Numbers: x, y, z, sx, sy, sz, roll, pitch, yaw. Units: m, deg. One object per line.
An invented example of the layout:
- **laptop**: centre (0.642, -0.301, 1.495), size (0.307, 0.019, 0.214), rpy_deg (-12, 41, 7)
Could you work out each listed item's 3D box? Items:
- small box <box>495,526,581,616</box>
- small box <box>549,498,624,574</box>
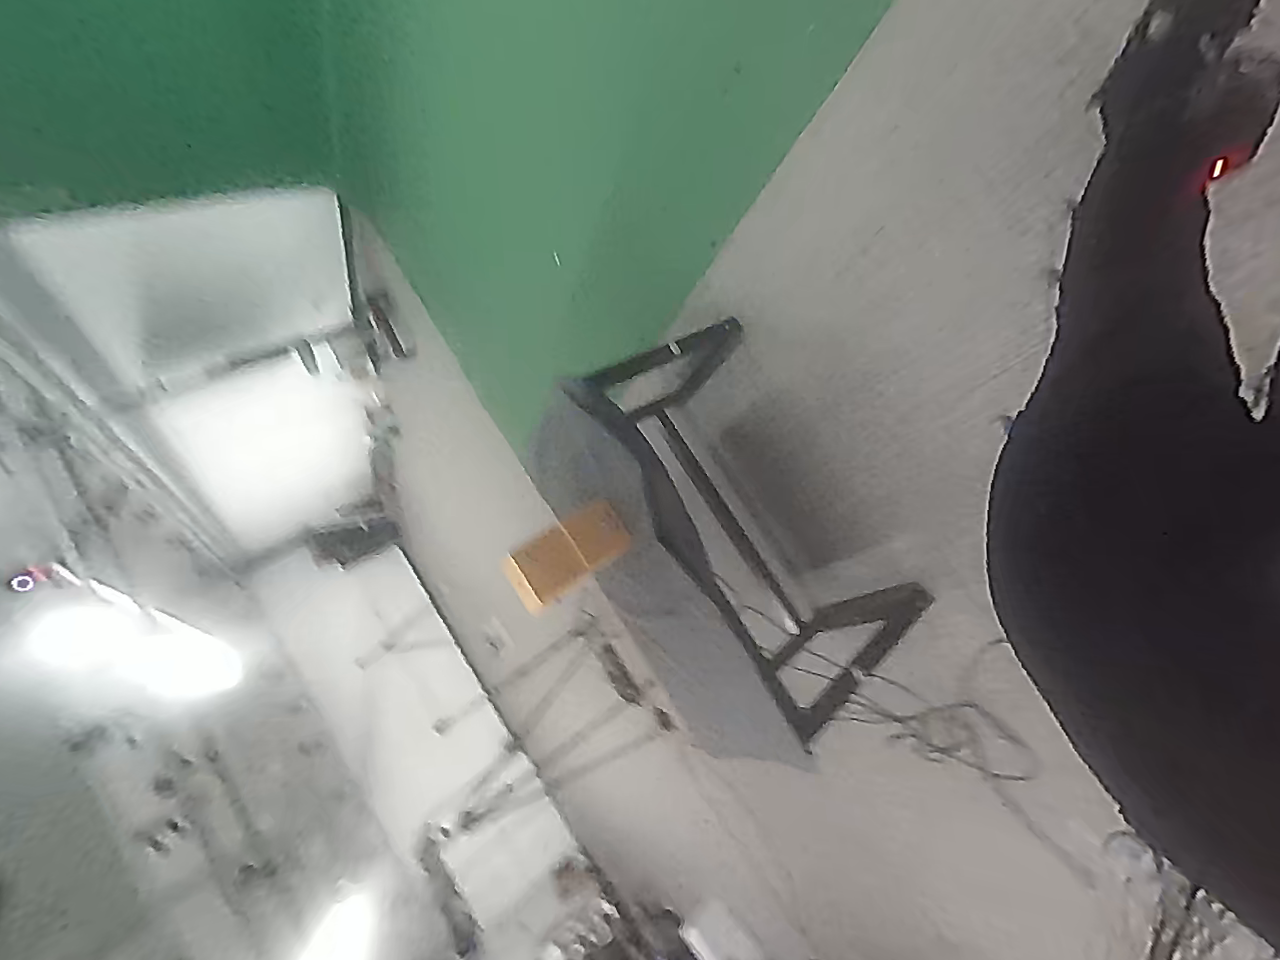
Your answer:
- **small box**: centre (-0.293, 0.261, 1.563), size (0.179, 0.176, 0.168), rpy_deg (55, 148, 10)
- **small box**: centre (-0.174, 0.182, 1.640), size (0.168, 0.176, 0.179), rpy_deg (55, 148, 8)
